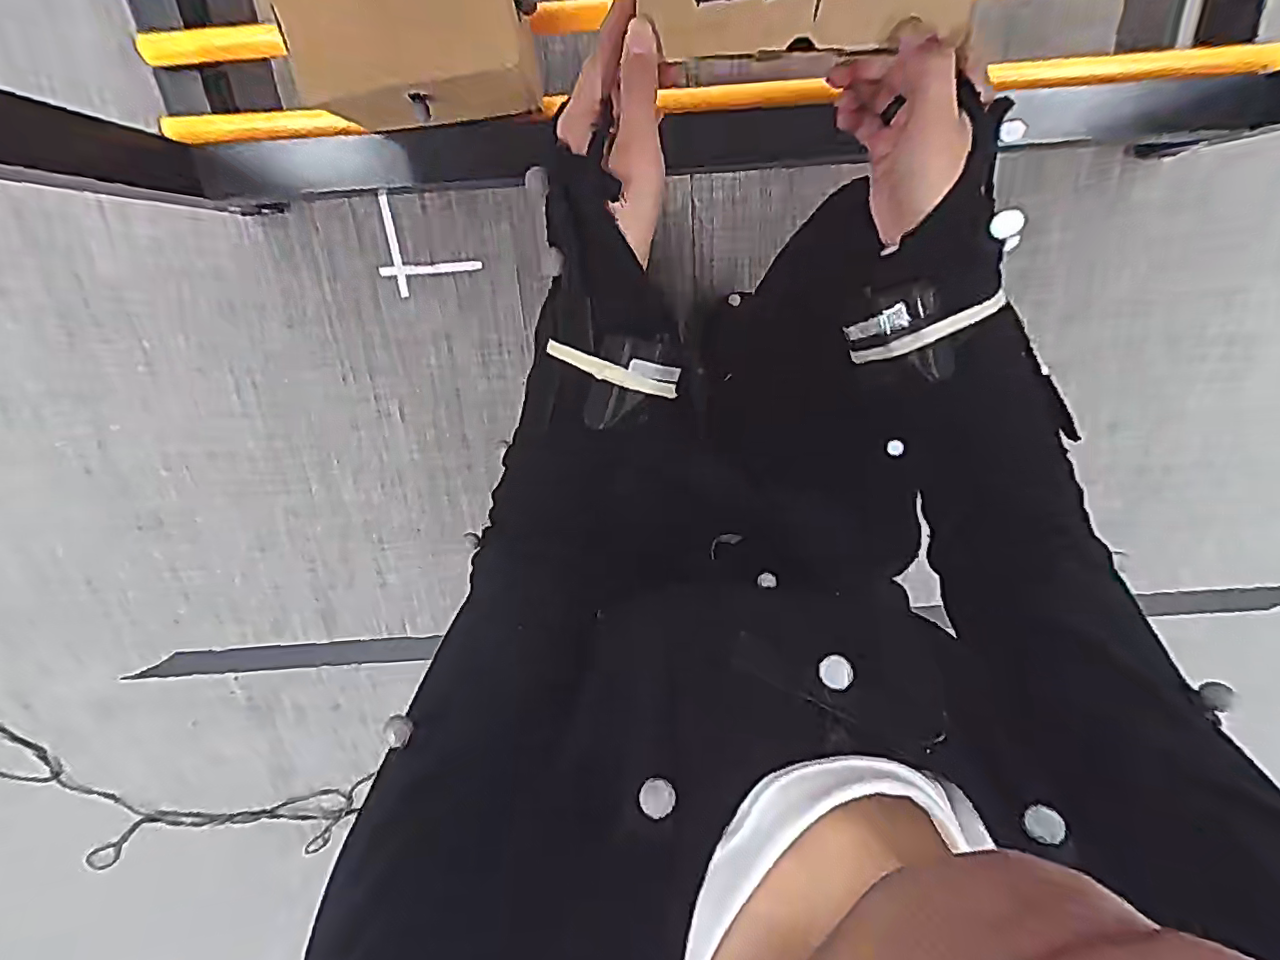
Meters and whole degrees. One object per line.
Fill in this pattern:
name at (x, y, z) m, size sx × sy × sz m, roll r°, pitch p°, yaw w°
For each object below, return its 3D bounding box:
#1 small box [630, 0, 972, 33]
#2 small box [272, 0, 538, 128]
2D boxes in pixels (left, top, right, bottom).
small box at (0.076, -0.340, 0.273) m, size 0.168 × 0.176 × 0.179 m, roll -3°, pitch 128°, yaw -2°
small box at (-0.189, -0.416, 0.453) m, size 0.179 × 0.176 × 0.168 m, roll -8°, pitch 113°, yaw 1°
